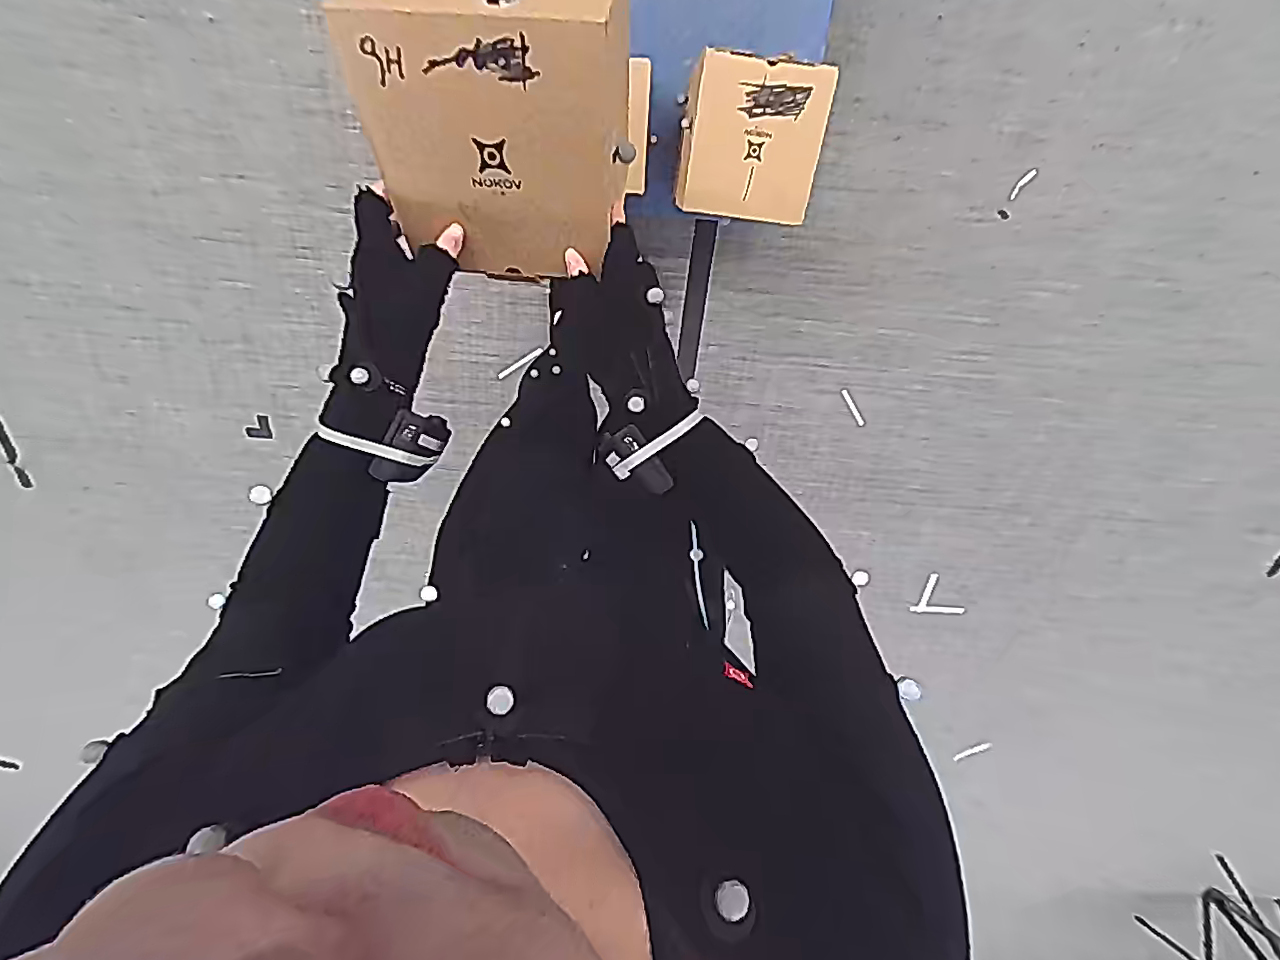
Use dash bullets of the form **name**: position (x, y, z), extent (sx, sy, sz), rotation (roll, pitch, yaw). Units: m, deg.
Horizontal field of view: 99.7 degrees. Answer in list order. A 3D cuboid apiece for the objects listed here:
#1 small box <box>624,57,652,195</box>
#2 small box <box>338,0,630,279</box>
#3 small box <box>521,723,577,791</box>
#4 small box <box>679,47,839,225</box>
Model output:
- **small box**: position (-0.067, -0.575, 0.884), extent (0.168, 0.176, 0.179), rotation (3, 119, -2)
- **small box**: position (-0.095, -0.291, 0.431), extent (0.168, 0.176, 0.179), rotation (4, 146, 1)
- **small box**: position (-0.338, 1.047, 2.044), extent (0.168, 0.176, 0.179), rotation (-3, 119, 3)
- **small box**: position (0.149, -0.467, 0.752), extent (0.168, 0.176, 0.179), rotation (6, 120, -3)
